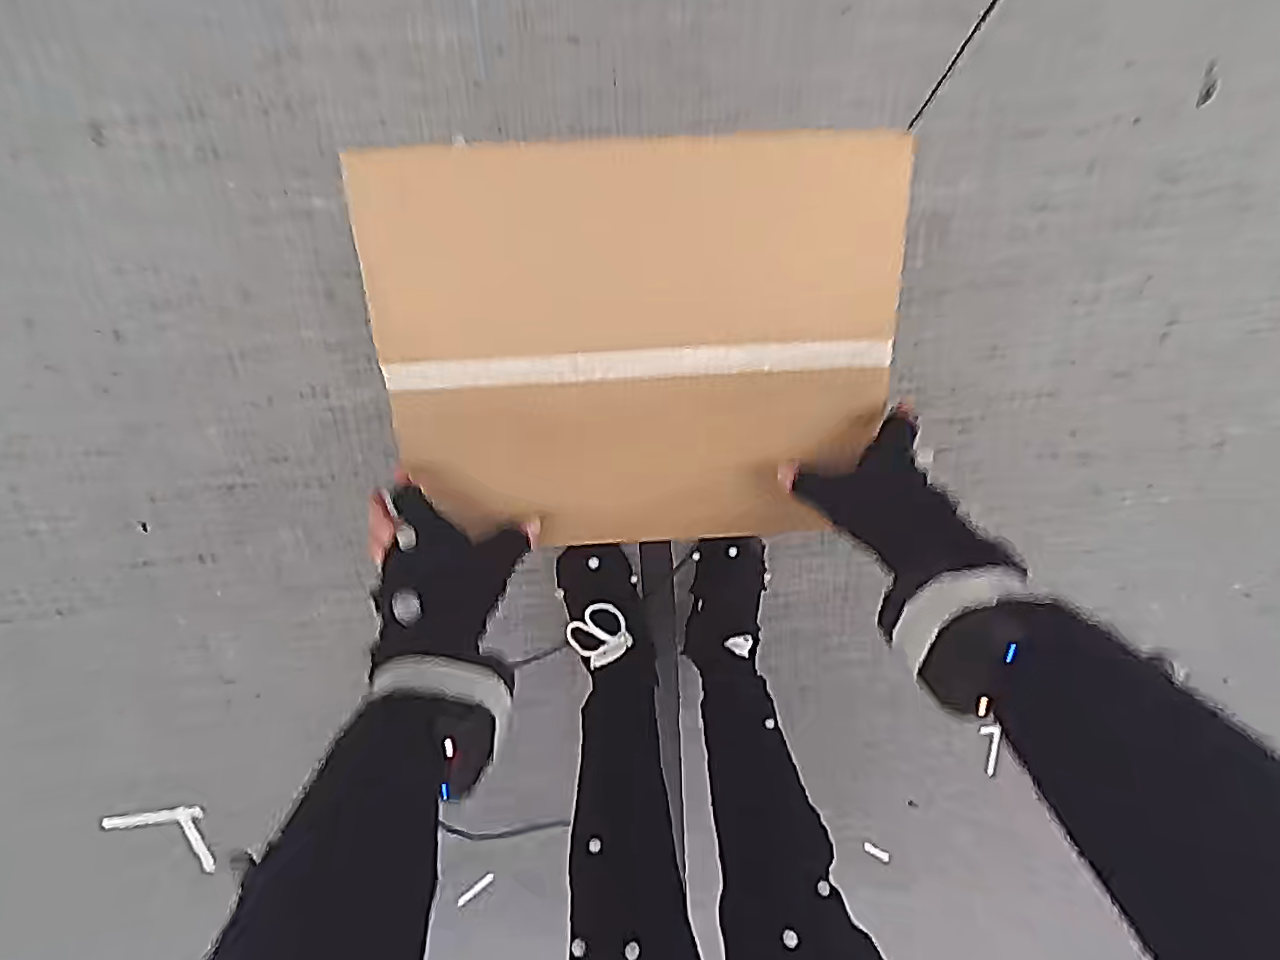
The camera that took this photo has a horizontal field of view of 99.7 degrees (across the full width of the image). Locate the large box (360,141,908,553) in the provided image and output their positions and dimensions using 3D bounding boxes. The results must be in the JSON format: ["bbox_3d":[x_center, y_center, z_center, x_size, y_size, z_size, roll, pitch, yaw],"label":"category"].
[{"bbox_3d":[-0.003,-0.140,0.577,0.408,0.320,0.320,-3,111,-2],"label":"large box"}]
